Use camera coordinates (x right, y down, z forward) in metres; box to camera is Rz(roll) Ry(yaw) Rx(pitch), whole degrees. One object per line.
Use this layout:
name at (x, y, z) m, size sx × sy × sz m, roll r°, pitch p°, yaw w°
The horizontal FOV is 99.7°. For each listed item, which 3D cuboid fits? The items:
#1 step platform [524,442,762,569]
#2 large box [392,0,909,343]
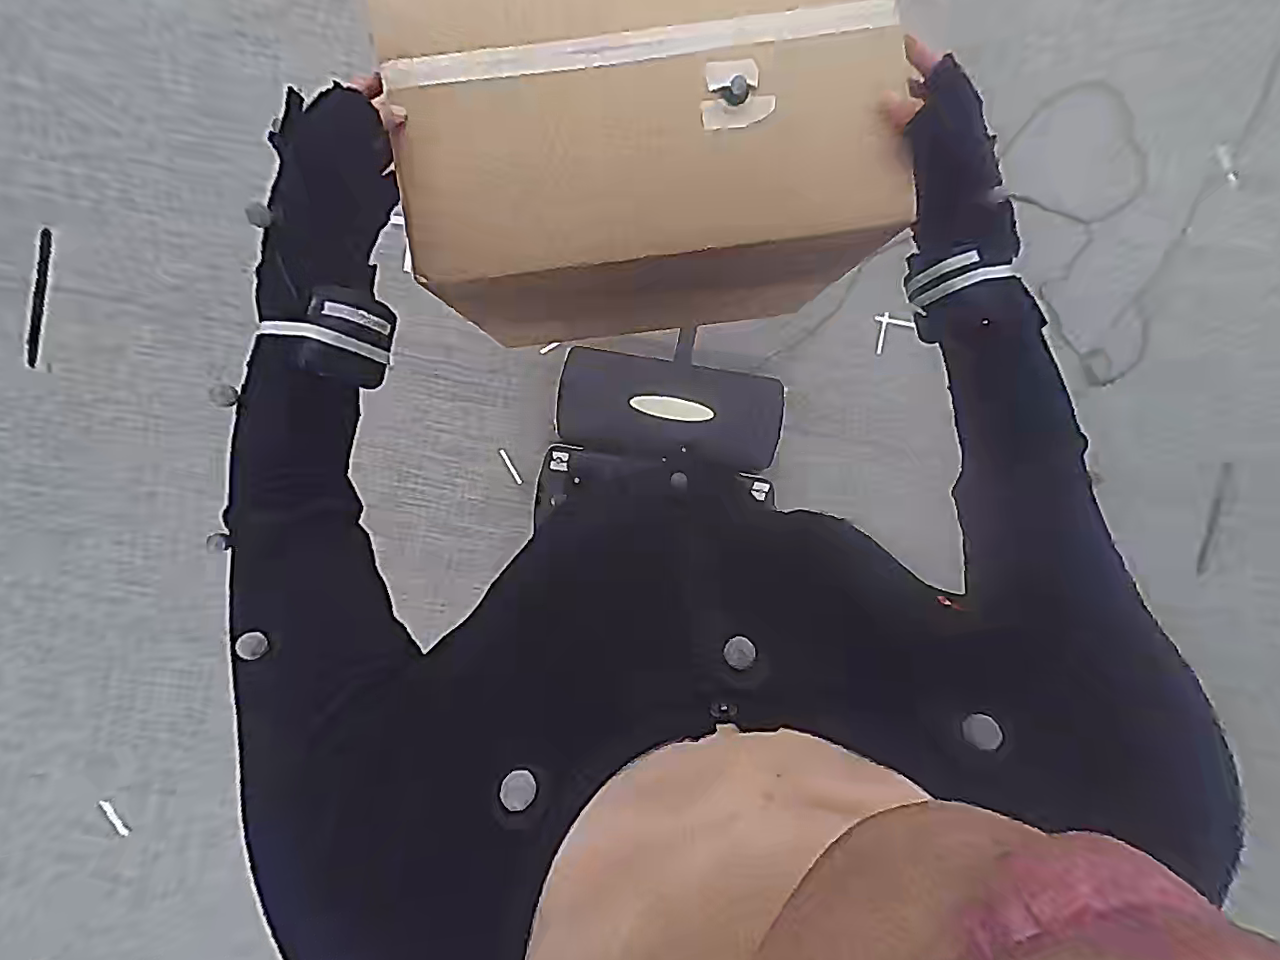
step platform at (0.008, 0.075, 1.589) m, size 0.684 × 0.204 × 0.286 m, roll 8°, pitch 92°, yaw -3°
large box at (0.002, -0.352, 0.582) m, size 0.408 × 0.320 × 0.320 m, roll -7°, pitch 95°, yaw -2°
